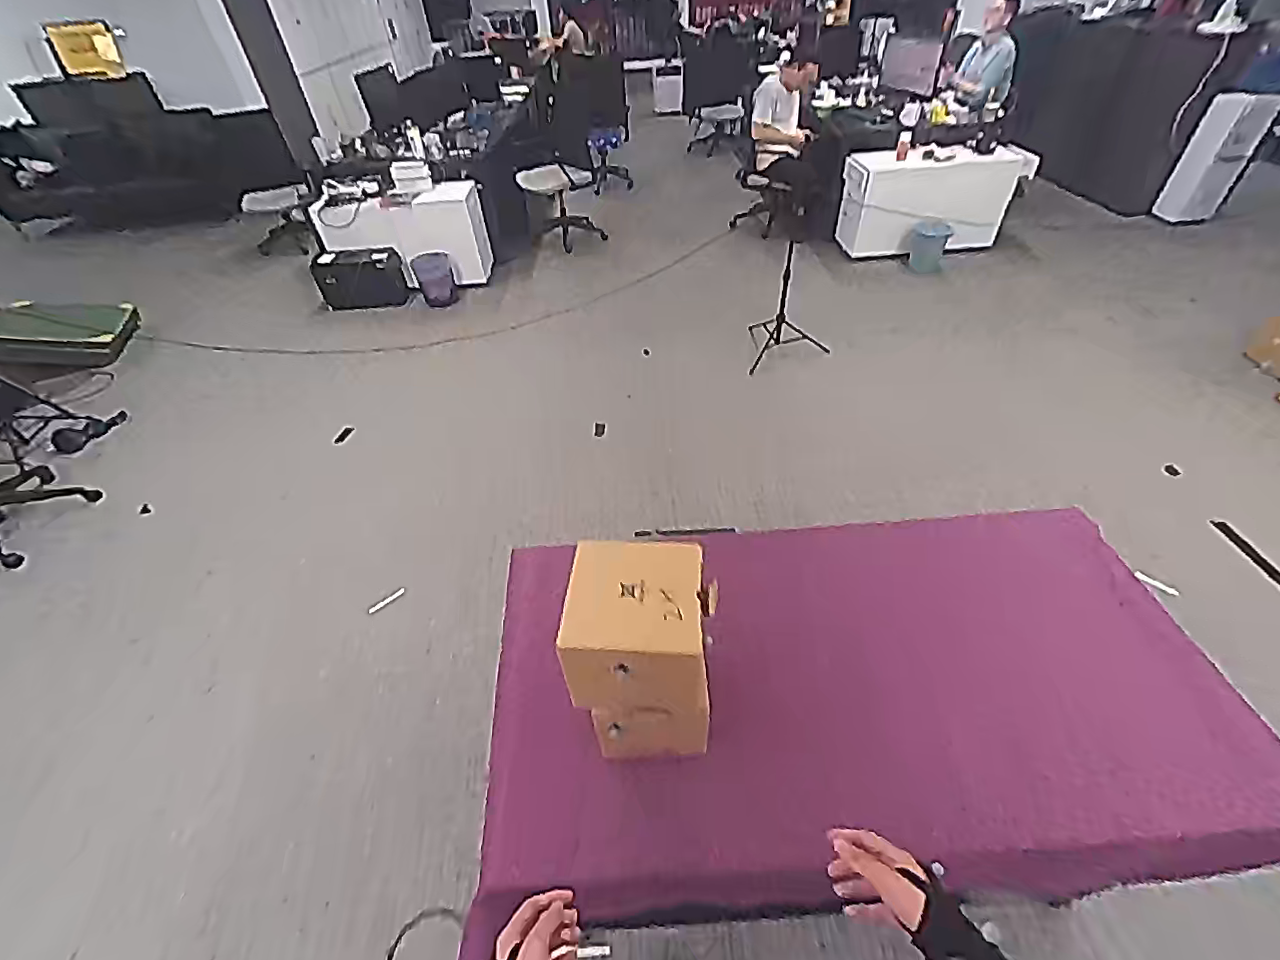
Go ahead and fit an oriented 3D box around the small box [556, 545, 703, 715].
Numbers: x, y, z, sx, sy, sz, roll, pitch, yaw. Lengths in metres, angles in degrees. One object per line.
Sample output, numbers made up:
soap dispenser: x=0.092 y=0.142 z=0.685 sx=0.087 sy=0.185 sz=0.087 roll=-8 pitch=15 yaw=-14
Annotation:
small box: x=-0.003 y=0.208 z=0.748 sx=0.179 sy=0.176 sz=0.168 roll=2 pitch=44 yaw=5
